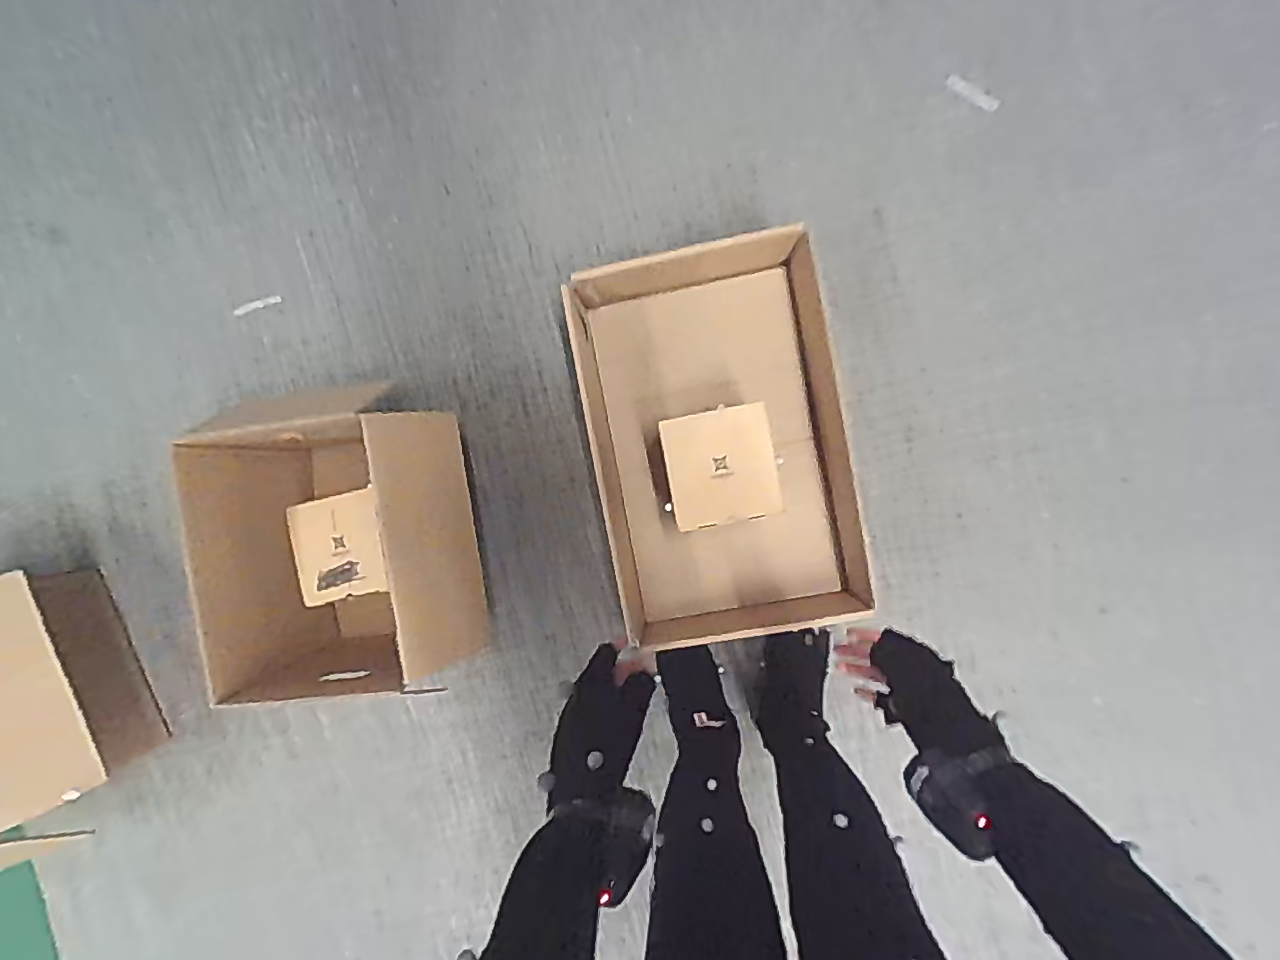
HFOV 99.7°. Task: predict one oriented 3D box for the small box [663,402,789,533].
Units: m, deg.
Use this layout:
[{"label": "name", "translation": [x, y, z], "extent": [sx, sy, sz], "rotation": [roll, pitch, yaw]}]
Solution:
[{"label": "small box", "translation": [0.136, -0.018, 0.896], "extent": [0.168, 0.176, 0.179], "rotation": [-11, 90, 6]}]
